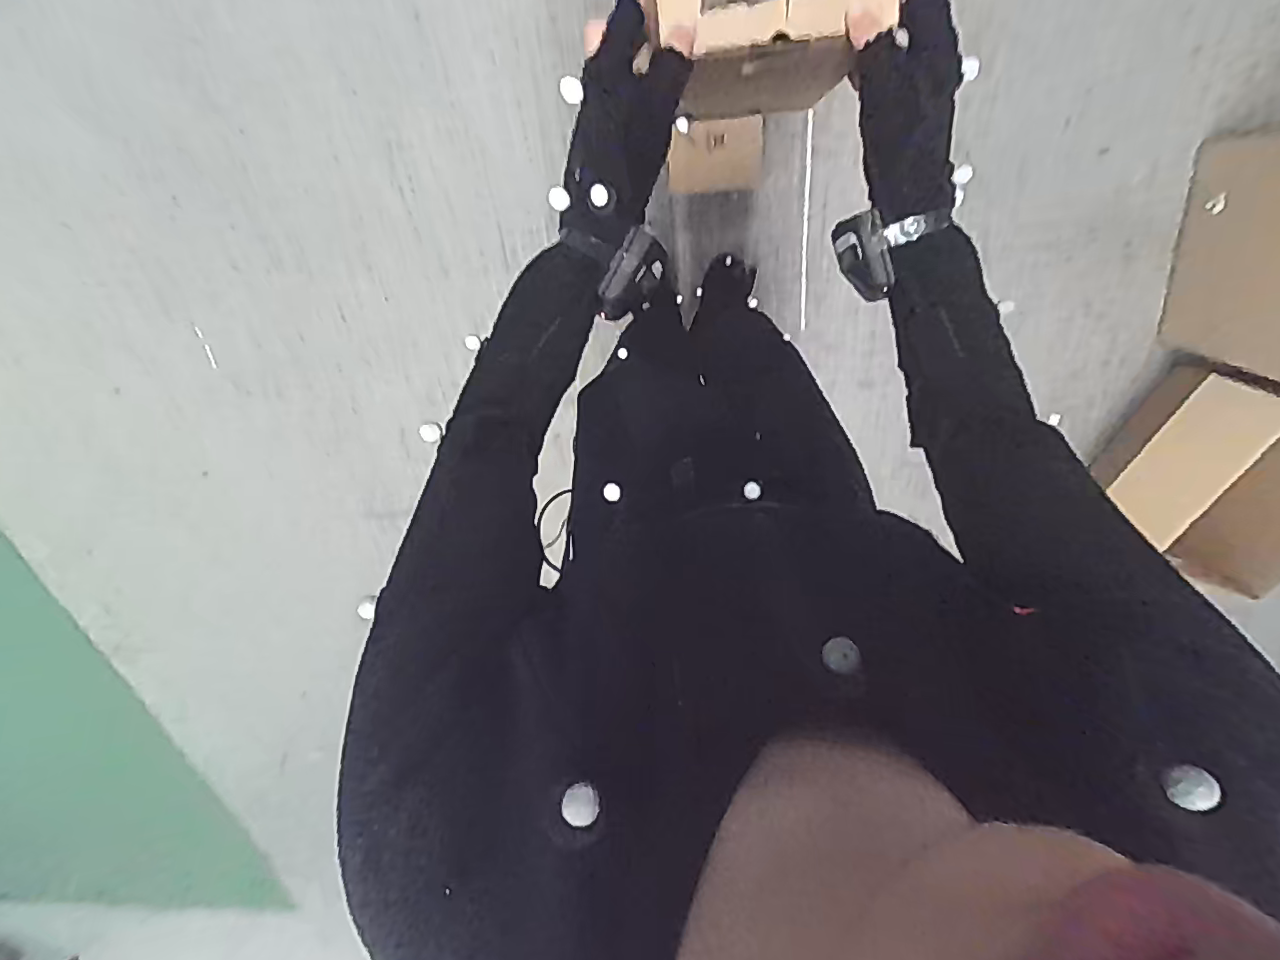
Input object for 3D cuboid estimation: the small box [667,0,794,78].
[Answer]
[{"bbox_3d":[0.132,-0.743,0.832,0.179,0.176,0.168,-5,117,6],"label":"small box"}]
